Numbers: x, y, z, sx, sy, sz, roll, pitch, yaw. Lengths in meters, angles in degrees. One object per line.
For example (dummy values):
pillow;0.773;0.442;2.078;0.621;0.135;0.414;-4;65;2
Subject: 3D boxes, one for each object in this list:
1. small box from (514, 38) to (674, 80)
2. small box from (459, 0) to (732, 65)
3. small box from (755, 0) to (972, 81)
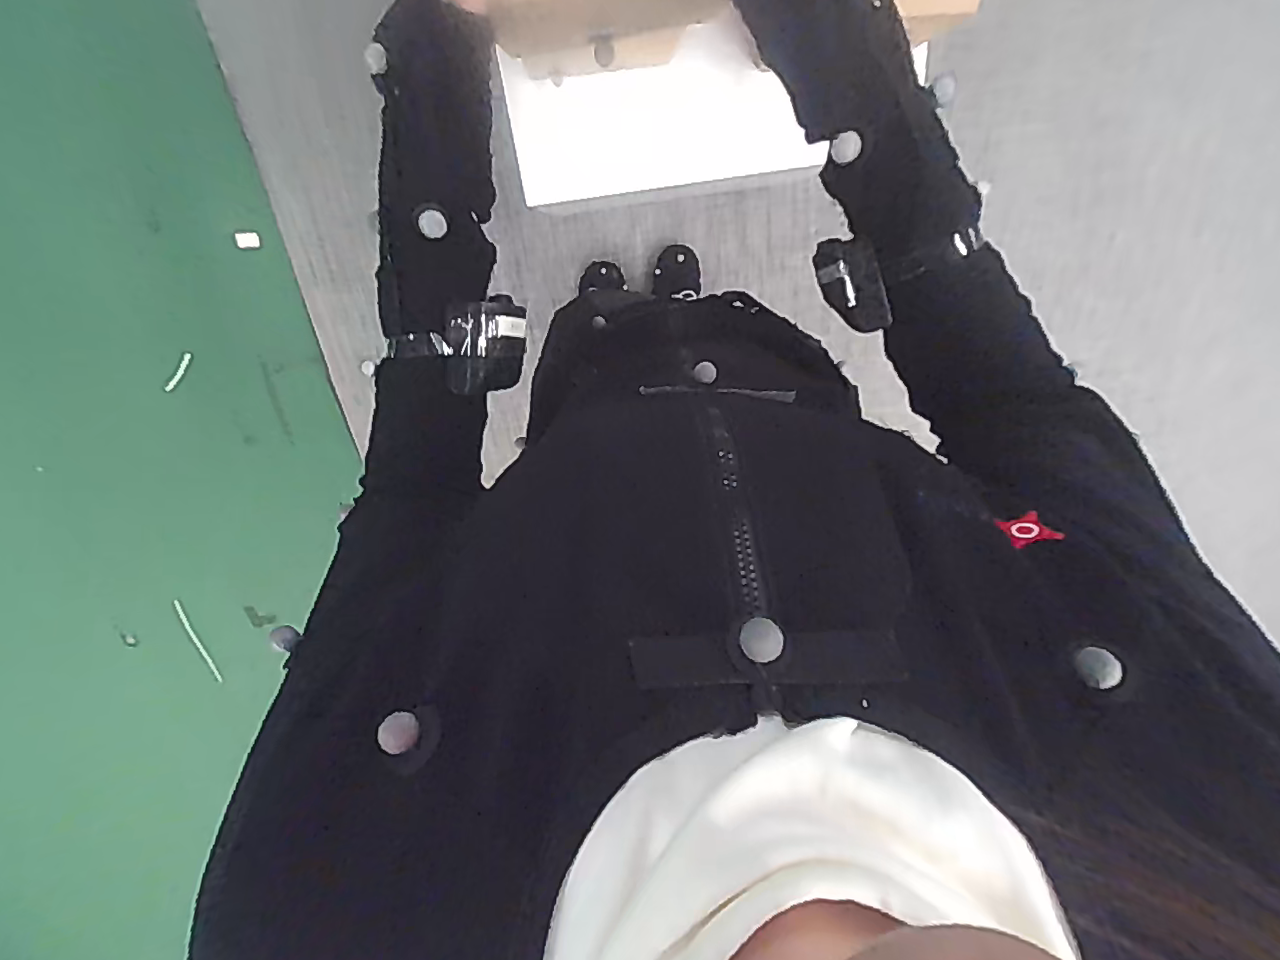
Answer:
small box;-0.051;-0.518;0.529;0.168;0.176;0.179;-8;114;-2
small box;-0.031;-0.374;0.313;0.168;0.176;0.179;-9;121;4
small box;0.217;-0.534;0.545;0.168;0.176;0.179;-5;114;-2
